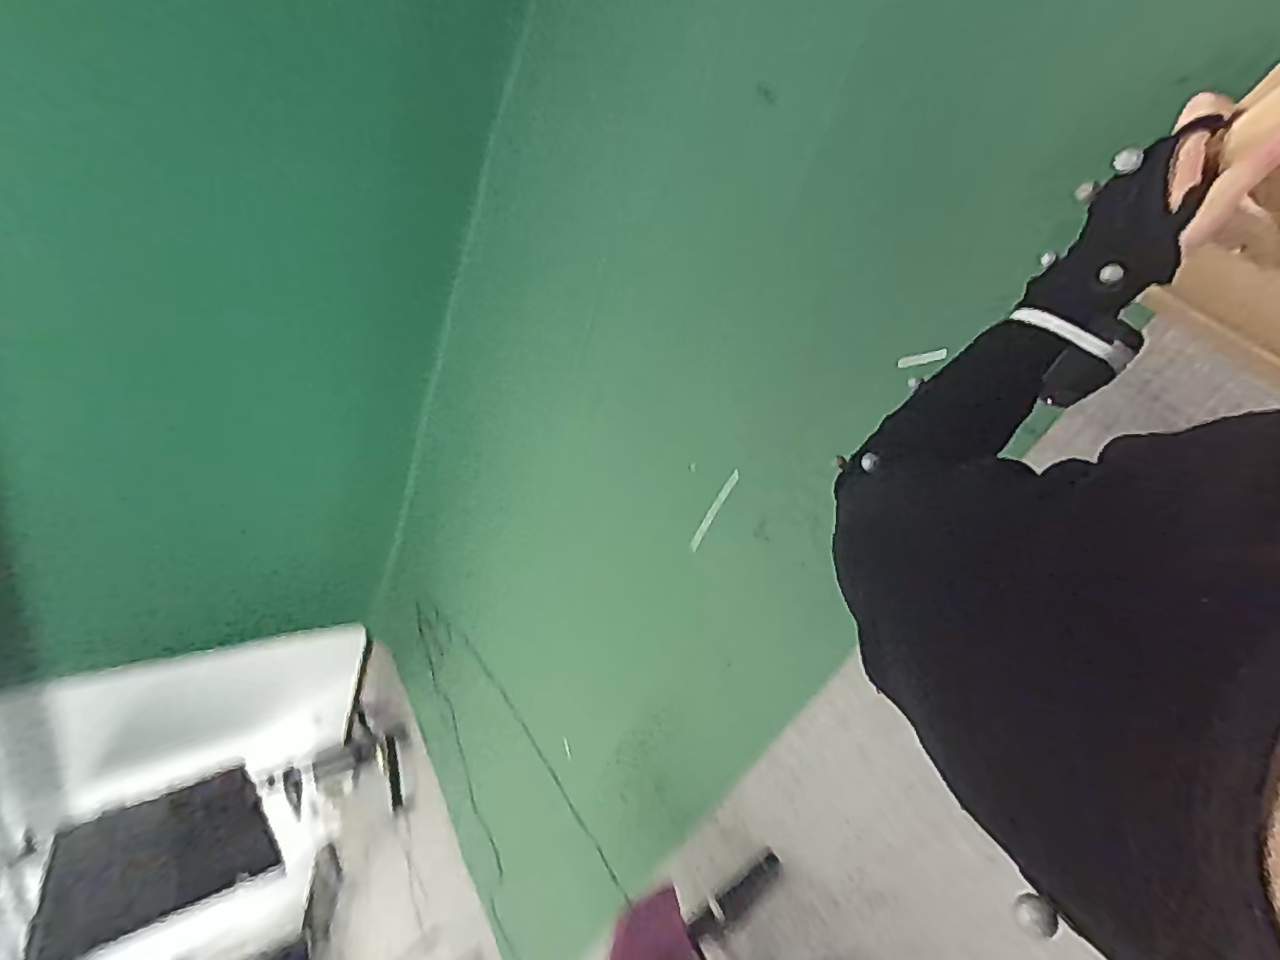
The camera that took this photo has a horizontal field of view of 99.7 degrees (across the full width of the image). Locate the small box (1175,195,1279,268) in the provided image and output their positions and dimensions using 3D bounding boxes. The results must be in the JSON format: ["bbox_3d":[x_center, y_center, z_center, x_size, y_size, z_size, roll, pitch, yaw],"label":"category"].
[{"bbox_3d":[1.063,-0.484,0.903,0.168,0.176,0.179,56,129,27],"label":"small box"}]

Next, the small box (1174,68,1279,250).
[{"bbox_3d":[0.944,-0.472,0.791,0.179,0.176,0.168,-53,57,36],"label":"small box"}]
